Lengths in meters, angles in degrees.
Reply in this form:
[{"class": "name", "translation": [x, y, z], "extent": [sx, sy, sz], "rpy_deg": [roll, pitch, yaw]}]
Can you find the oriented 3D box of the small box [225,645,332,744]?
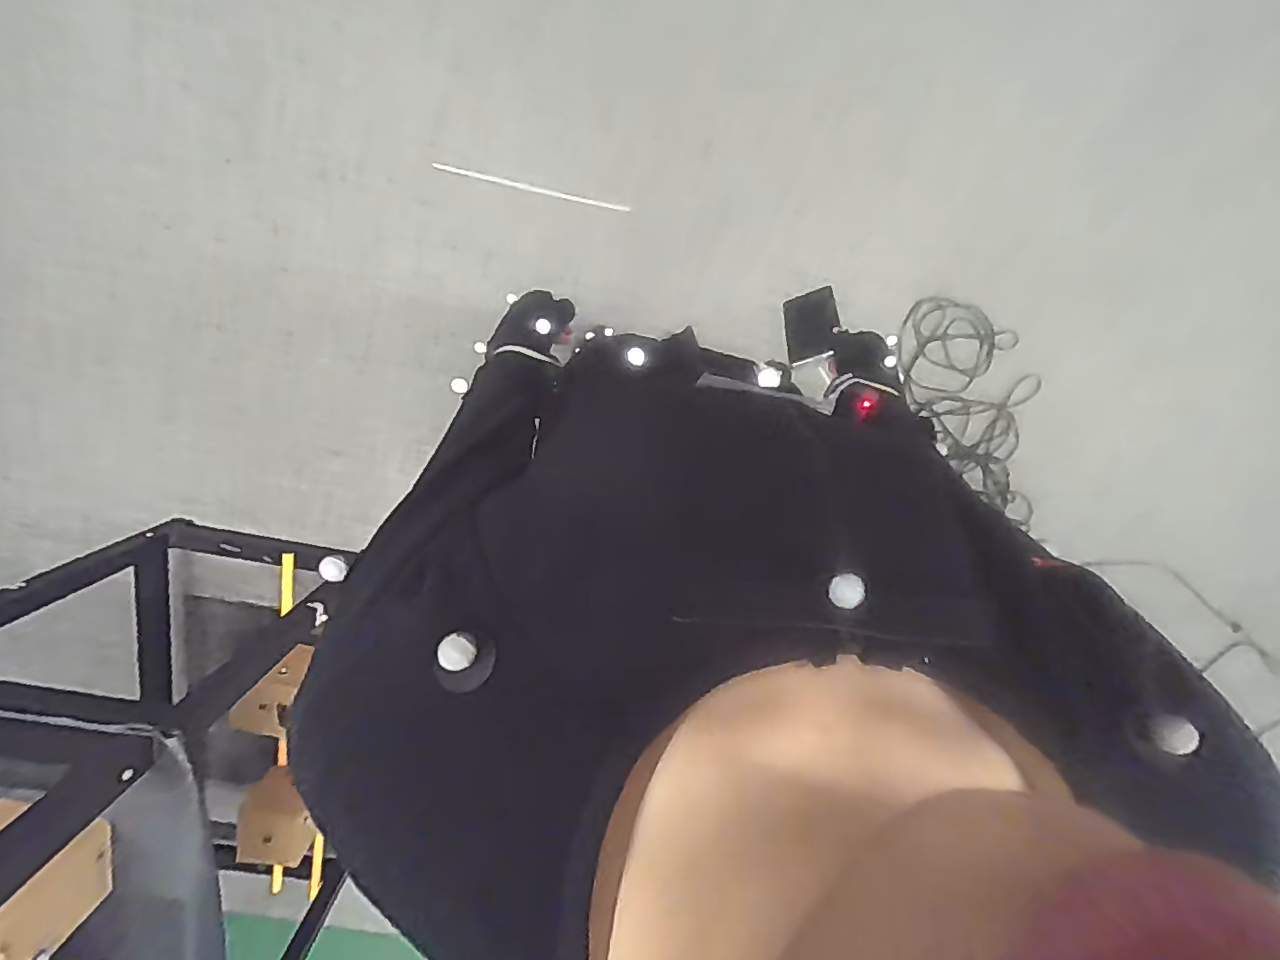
[{"class": "small box", "translation": [-0.952, 0.563, 1.437], "extent": [0.179, 0.176, 0.168], "rpy_deg": [14, 104, -5]}]
